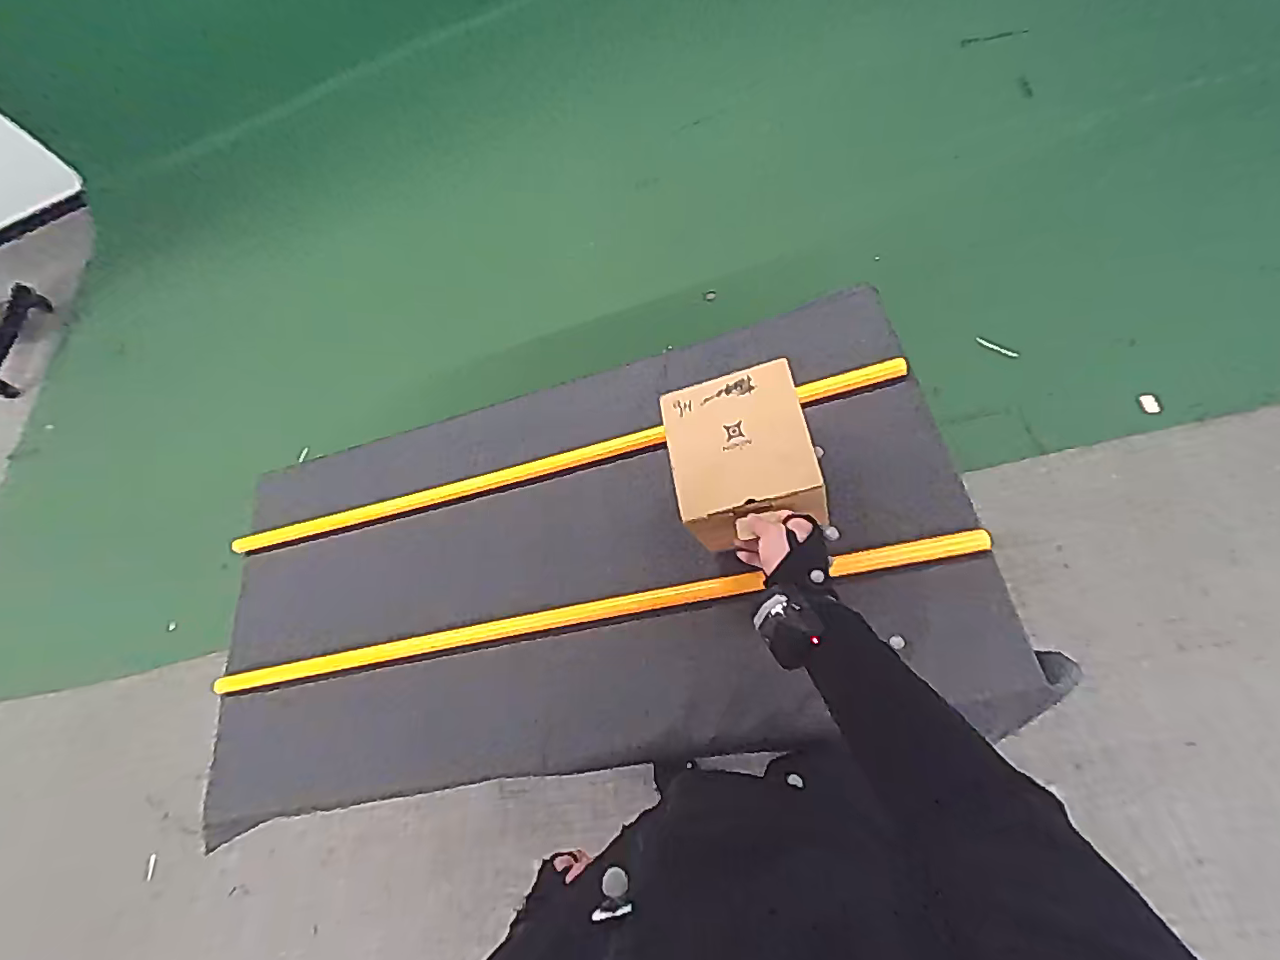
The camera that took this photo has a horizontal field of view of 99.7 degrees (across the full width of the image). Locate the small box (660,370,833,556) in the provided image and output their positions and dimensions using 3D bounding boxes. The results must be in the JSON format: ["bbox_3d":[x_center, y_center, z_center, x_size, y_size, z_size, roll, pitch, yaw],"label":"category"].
[{"bbox_3d":[0.146,-0.008,0.721,0.168,0.176,0.179,-20,63,16],"label":"small box"}]
